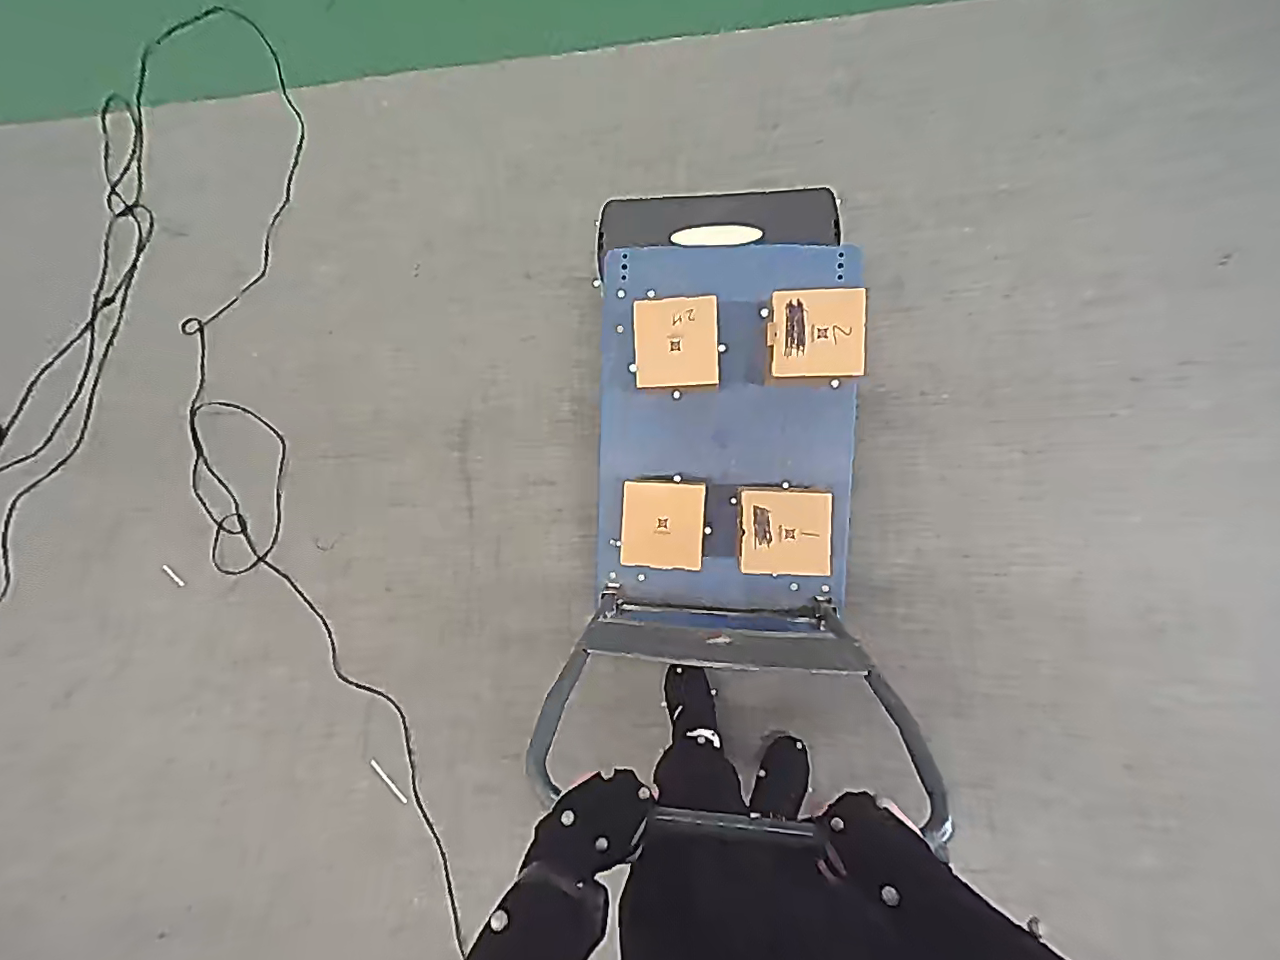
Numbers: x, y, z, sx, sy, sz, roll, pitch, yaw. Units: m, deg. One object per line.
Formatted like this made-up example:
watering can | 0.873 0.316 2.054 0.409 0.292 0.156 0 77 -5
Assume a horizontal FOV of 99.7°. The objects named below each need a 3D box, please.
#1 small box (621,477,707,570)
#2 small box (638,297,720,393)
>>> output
small box | 0.056 0.086 1.174 0.168 0.176 0.179 4 94 6
small box | 0.086 -0.278 1.150 0.168 0.176 0.179 -1 93 6
